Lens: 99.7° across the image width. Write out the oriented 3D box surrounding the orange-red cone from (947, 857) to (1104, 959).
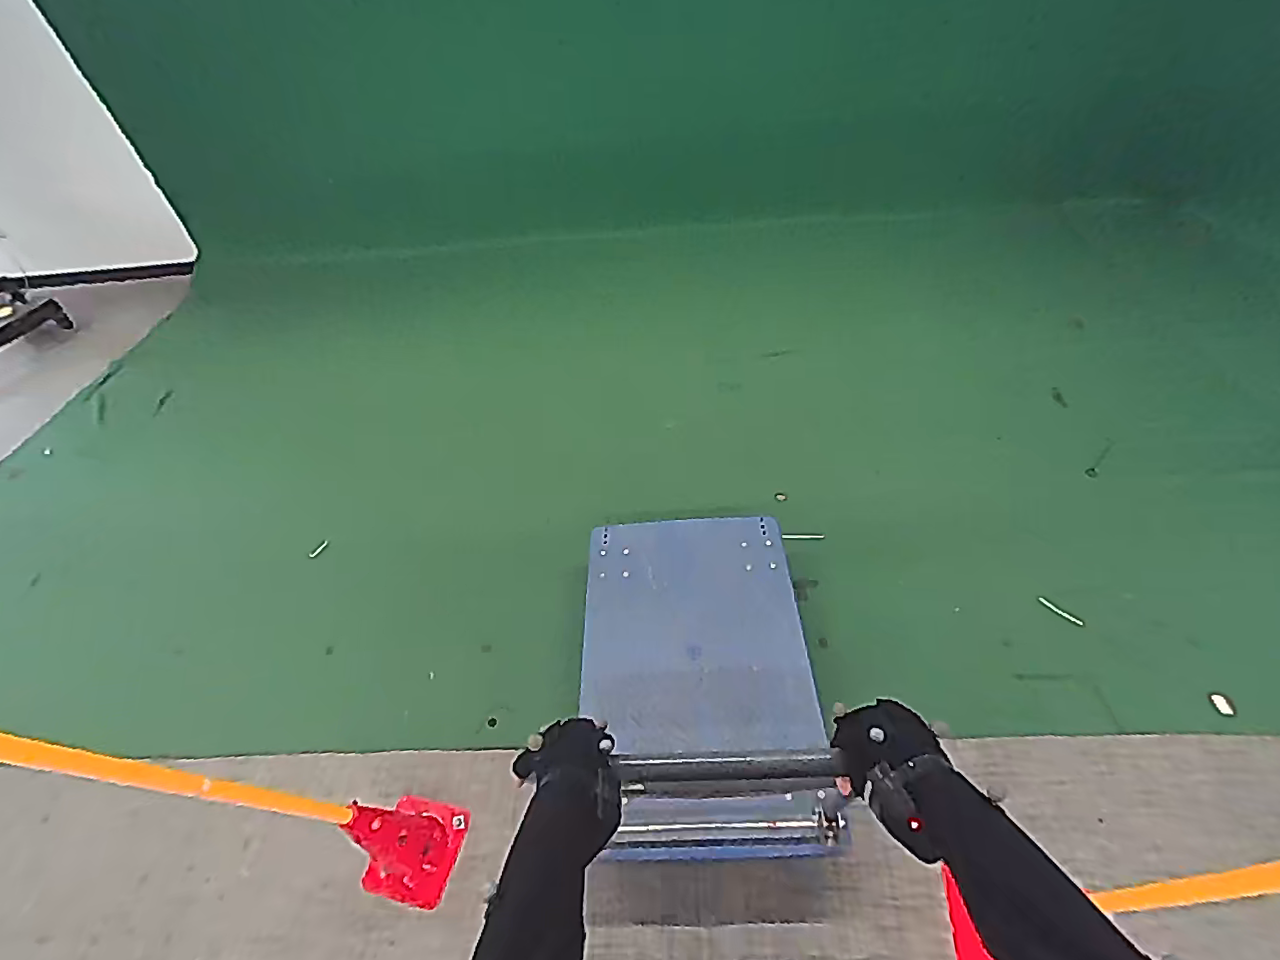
[{"bbox_3d":[0.735,0.795,0.988,0.198,0.360,0.199,5,48,11],"label":"orange-red cone"}]
